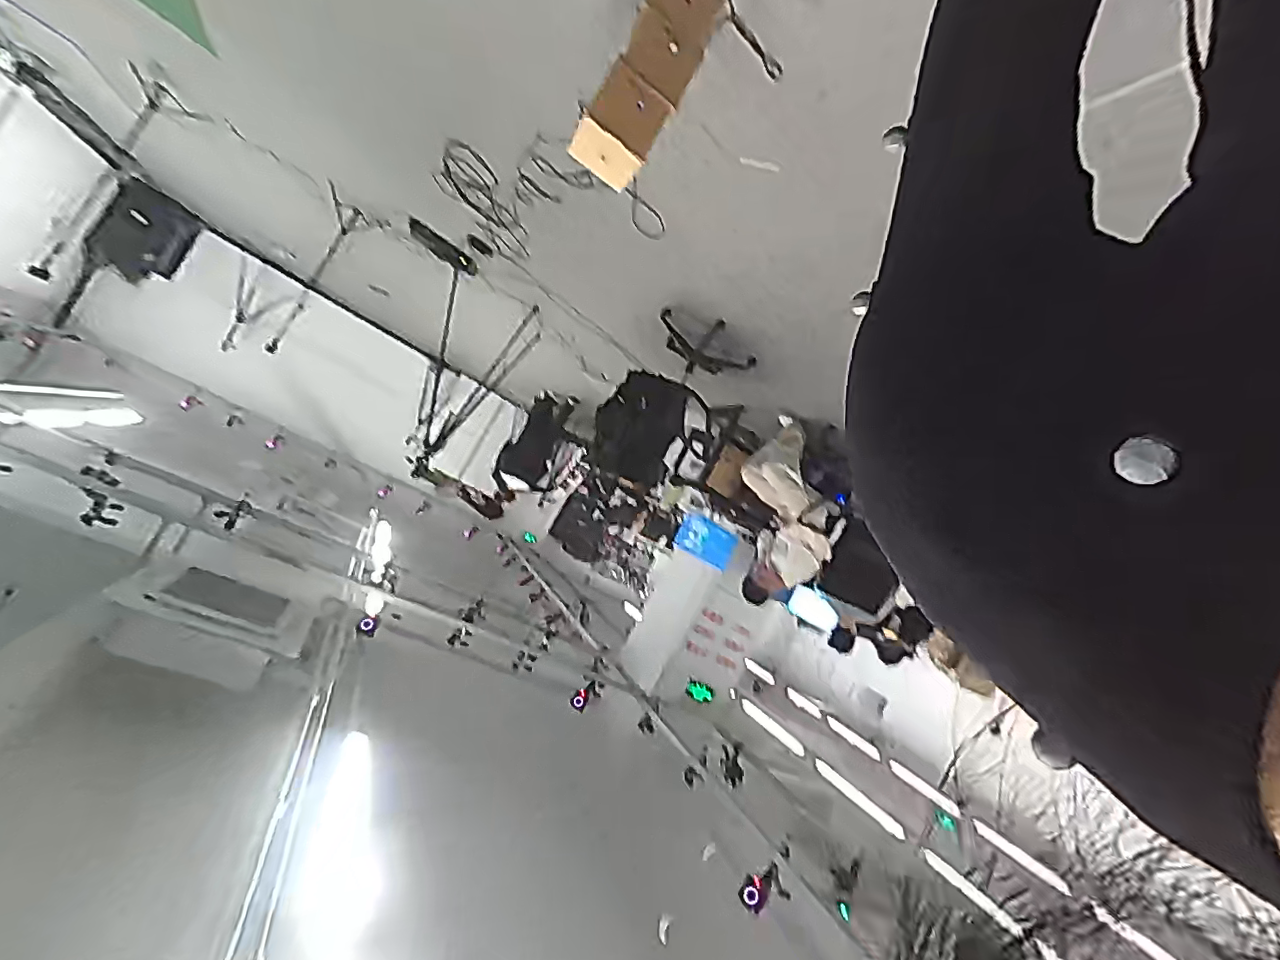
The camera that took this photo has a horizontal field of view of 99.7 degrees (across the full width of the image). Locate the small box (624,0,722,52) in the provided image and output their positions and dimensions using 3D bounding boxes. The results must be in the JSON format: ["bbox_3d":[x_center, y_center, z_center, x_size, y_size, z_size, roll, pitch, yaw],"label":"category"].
[{"bbox_3d":[0.088,-1.168,1.391,0.168,0.176,0.179,31,174,-17],"label":"small box"}]

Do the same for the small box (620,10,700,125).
[{"bbox_3d":[0.027,-1.016,1.375,0.168,0.176,0.179,30,173,-21],"label":"small box"}]

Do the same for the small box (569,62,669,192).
[{"bbox_3d":[-0.052,-0.876,1.351,0.168,0.176,0.179,30,172,-19],"label":"small box"}]
